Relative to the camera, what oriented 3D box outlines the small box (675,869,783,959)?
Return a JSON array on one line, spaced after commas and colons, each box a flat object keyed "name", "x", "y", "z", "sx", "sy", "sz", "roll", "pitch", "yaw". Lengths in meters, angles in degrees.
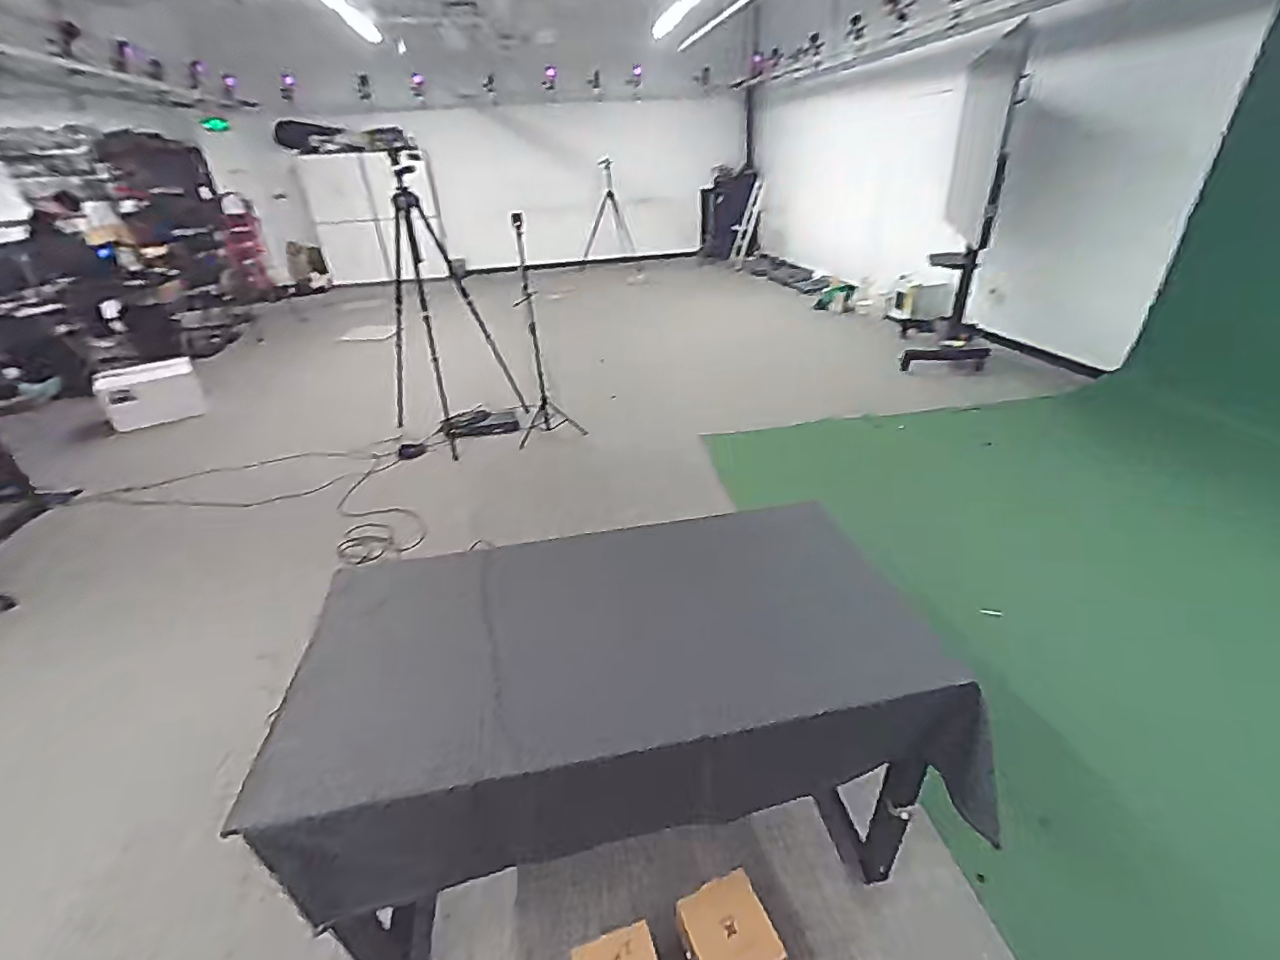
[{"name": "small box", "x": 0.181, "y": 0.992, "z": 1.152, "sx": 0.168, "sy": 0.176, "sz": 0.179, "roll": -14, "pitch": 32, "yaw": -18}]
